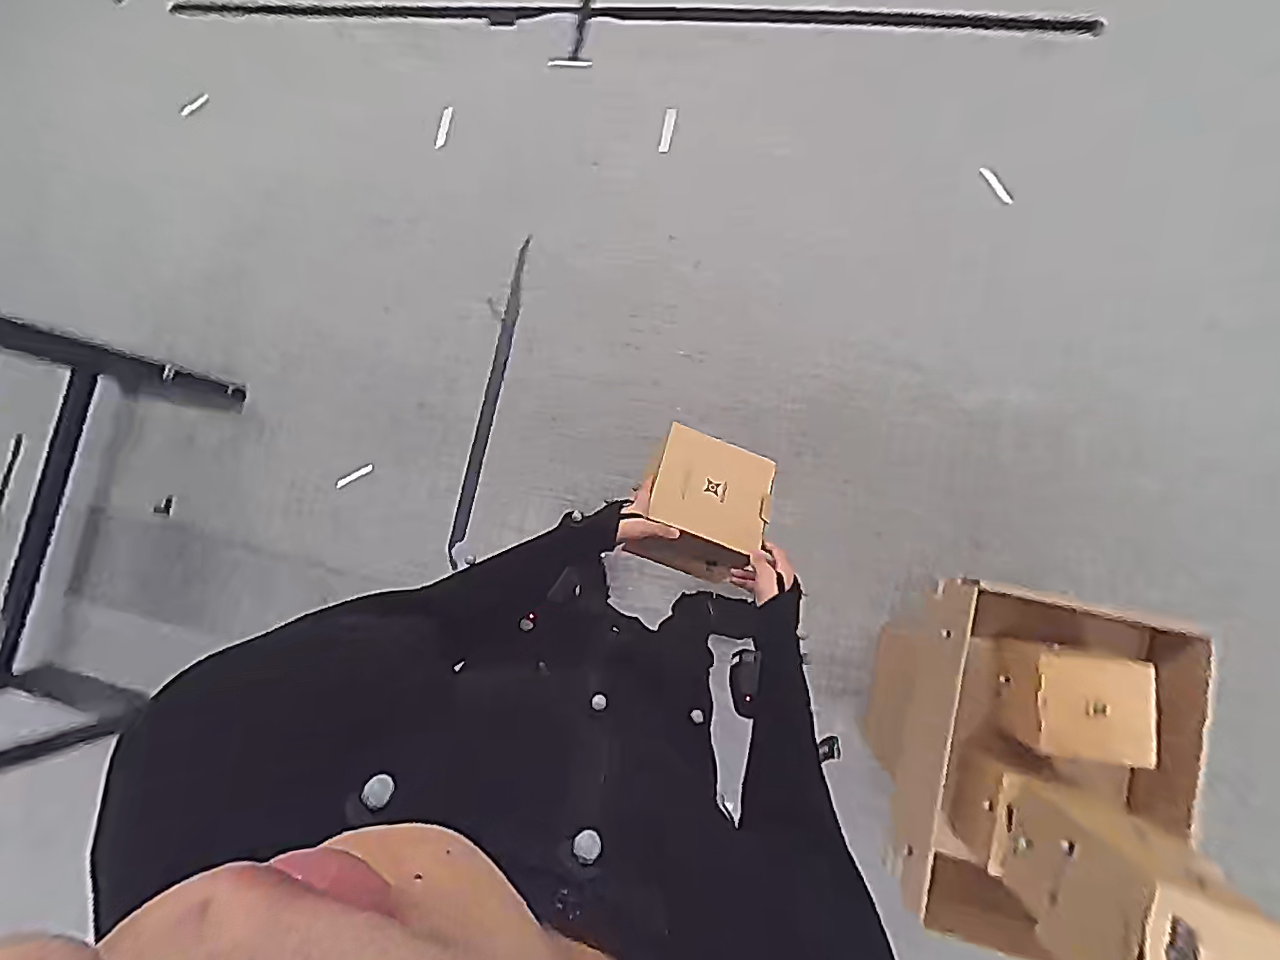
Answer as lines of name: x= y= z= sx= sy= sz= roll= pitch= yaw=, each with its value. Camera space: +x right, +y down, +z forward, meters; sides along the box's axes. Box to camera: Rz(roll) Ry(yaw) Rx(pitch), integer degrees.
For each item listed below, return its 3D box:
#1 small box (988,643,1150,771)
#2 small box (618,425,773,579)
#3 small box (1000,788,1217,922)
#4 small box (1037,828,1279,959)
small box: x=0.776 y=0.404 z=0.993 sx=0.179 sy=0.176 sz=0.168 roll=4 pitch=84 yaw=10
small box: x=0.083 y=0.045 z=0.855 sx=0.179 sy=0.176 sz=0.168 roll=20 pitch=63 yaw=-6
small box: x=0.689 y=0.598 z=0.815 sx=0.179 sy=0.176 sz=0.168 roll=14 pitch=82 yaw=10
small box: x=0.634 y=0.565 z=0.659 sx=0.179 sy=0.176 sz=0.168 roll=19 pitch=83 yaw=10
